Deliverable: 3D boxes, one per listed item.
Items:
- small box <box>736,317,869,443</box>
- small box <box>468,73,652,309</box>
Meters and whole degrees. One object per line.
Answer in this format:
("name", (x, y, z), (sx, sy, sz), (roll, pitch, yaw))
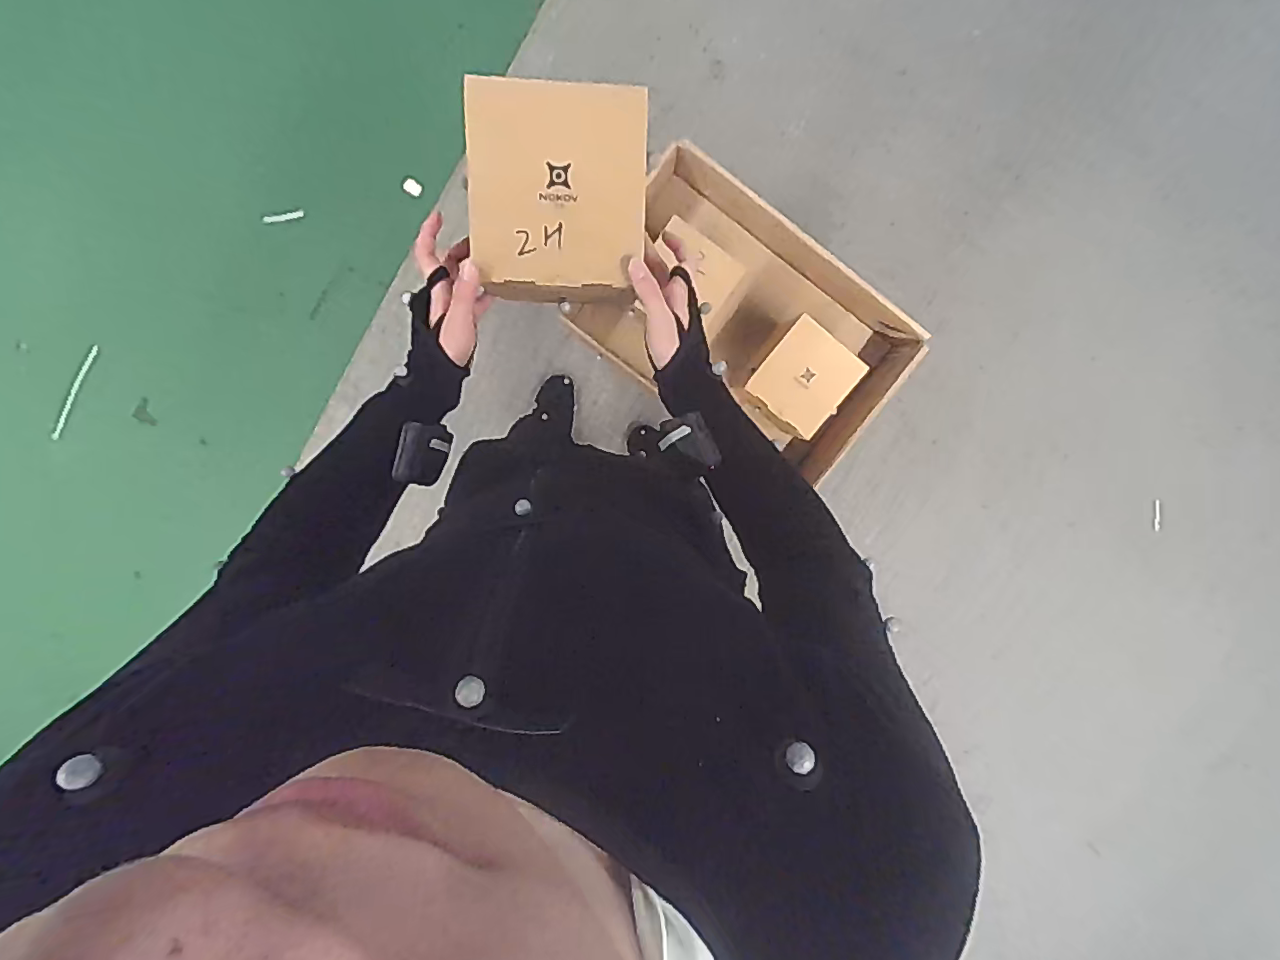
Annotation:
("small box", (0.312, -0.198, 1.084), (0.168, 0.176, 0.179), (38, 98, -6))
("small box", (-0.081, -0.285, 0.573), (0.168, 0.176, 0.179), (1, 102, -5))
